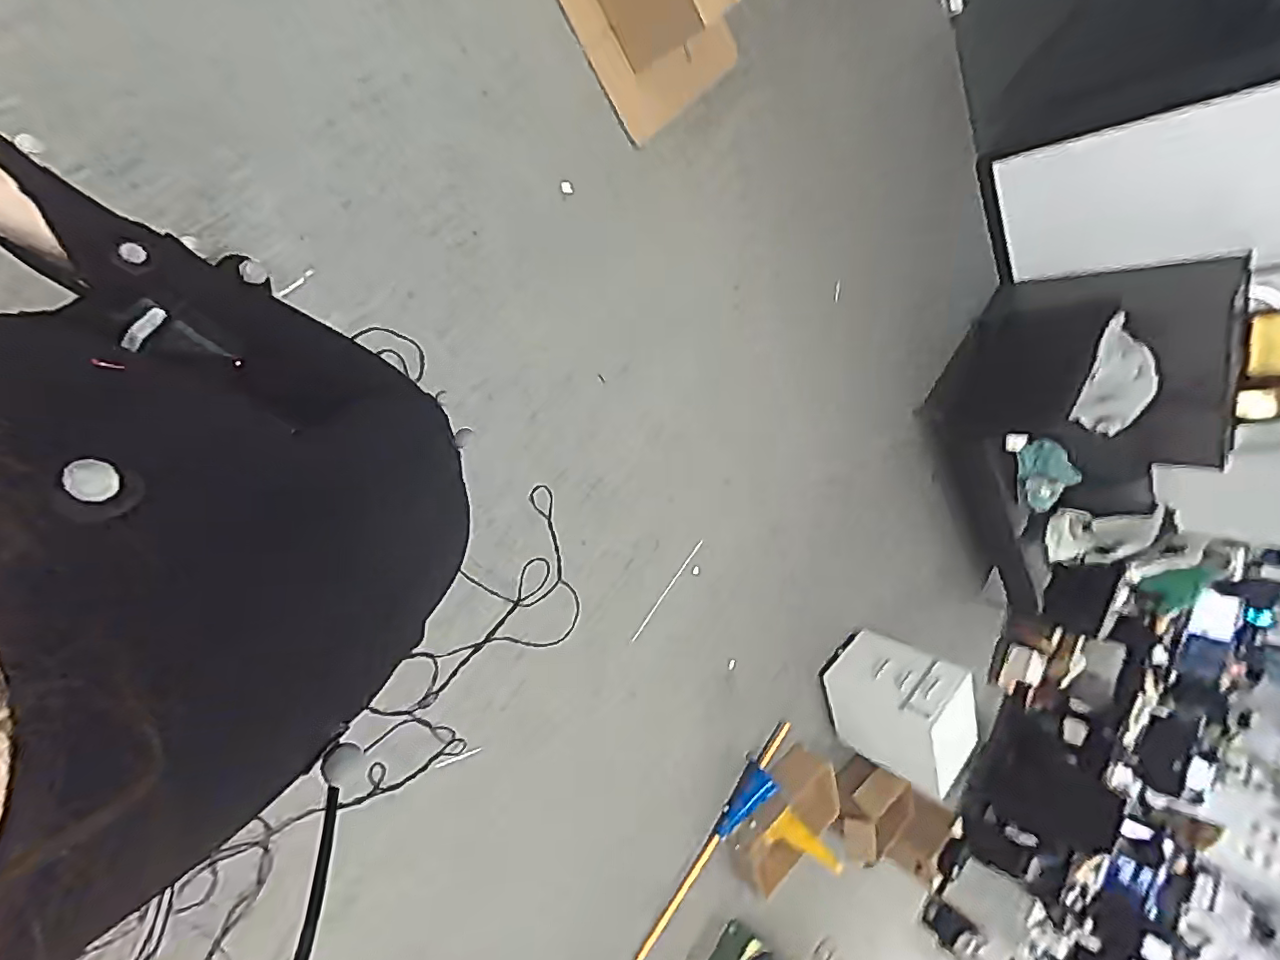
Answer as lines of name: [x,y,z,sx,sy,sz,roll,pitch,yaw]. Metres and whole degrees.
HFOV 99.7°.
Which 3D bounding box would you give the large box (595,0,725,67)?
large box: [0.043,-1.483,1.492,0.320,0.320,0.408,-52,127,-18]
